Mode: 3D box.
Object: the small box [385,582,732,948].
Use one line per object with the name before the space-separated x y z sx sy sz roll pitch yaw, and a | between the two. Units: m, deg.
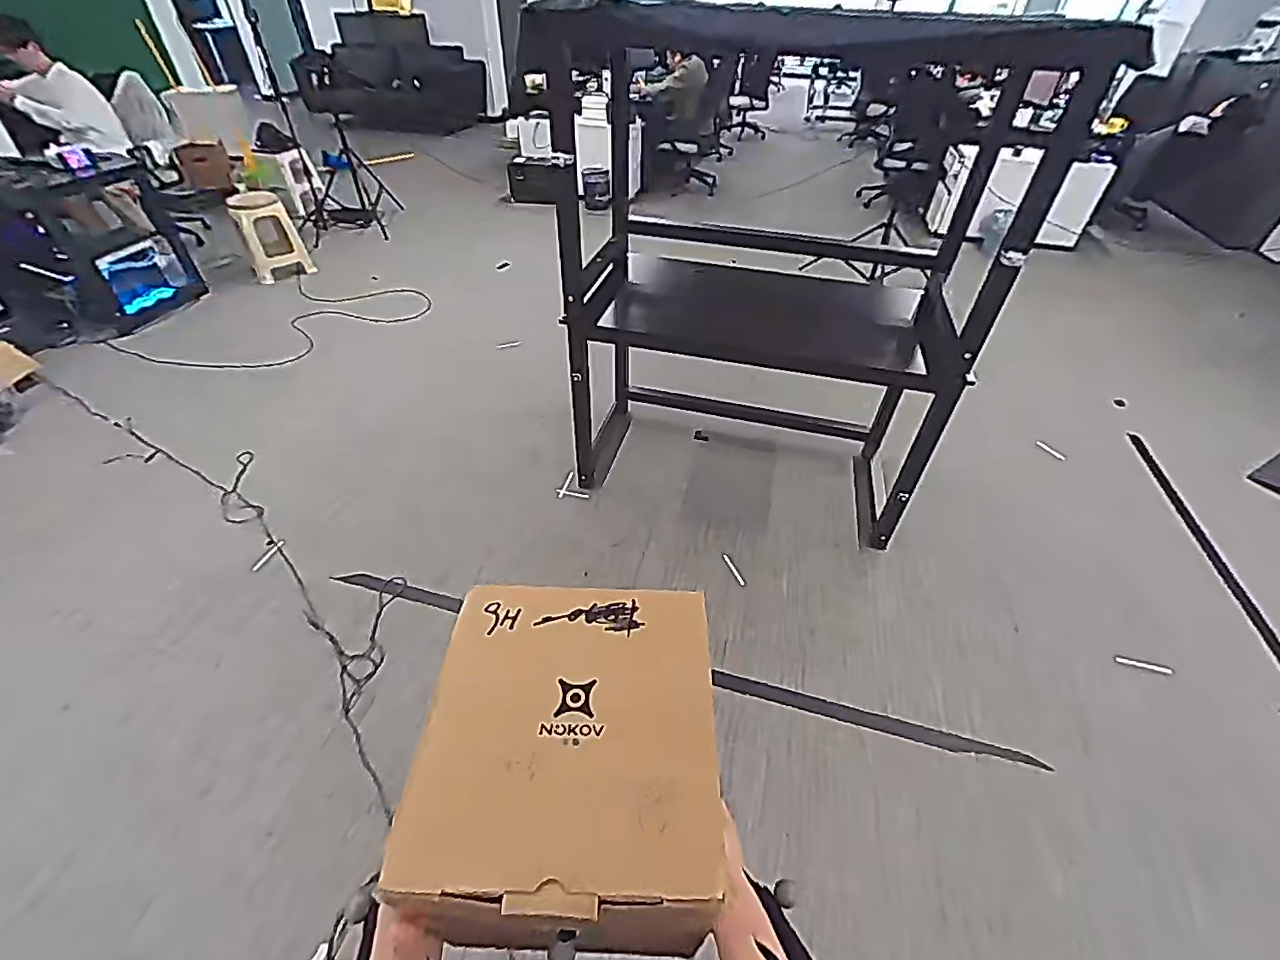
small box | -0.035 0.190 0.362 0.168 0.176 0.179 2 43 0
